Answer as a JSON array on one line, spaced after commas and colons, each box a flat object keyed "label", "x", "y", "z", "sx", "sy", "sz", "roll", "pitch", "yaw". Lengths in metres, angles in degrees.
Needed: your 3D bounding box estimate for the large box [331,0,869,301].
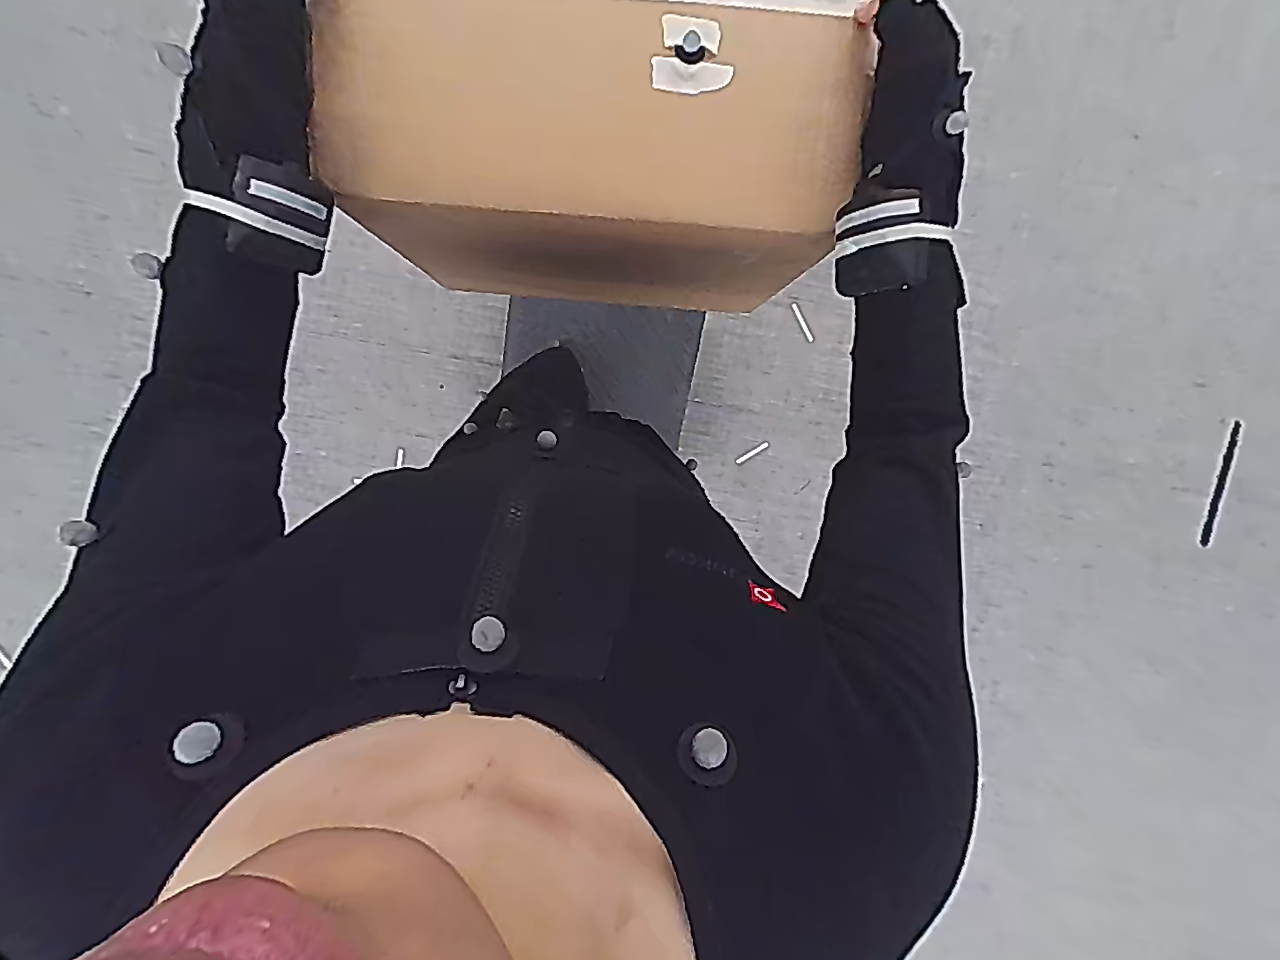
[{"label": "large box", "x": -0.033, "y": -0.379, "z": 0.548, "sx": 0.408, "sy": 0.320, "sz": 0.320, "roll": 3, "pitch": 97, "yaw": -3}]
